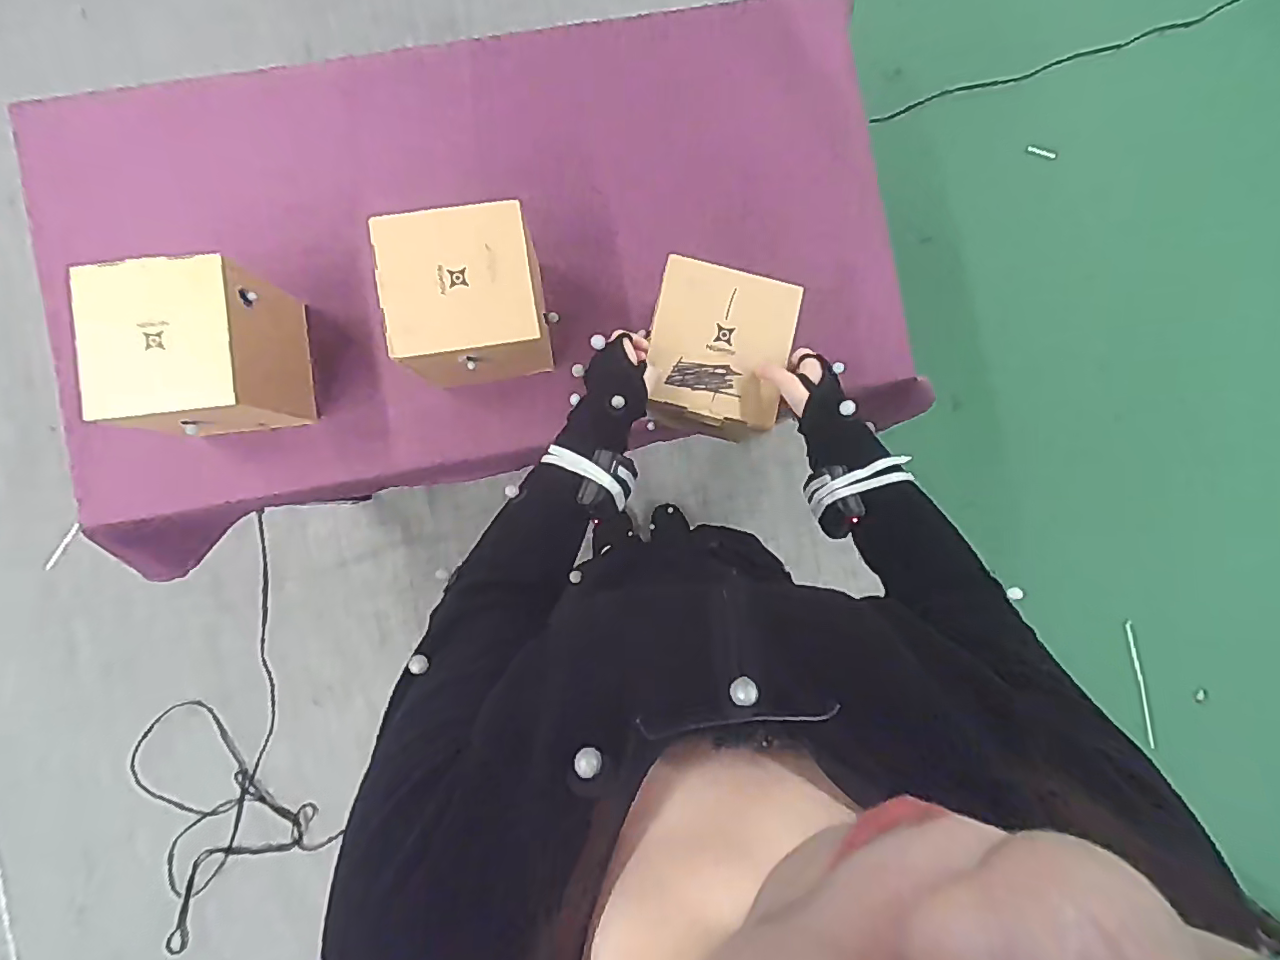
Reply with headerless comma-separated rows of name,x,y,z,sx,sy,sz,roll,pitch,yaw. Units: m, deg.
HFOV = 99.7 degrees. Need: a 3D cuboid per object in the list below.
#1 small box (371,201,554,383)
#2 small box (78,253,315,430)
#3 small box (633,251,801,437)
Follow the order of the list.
small box,-0.216,-0.229,0.700,0.179,0.176,0.168,-8,89,-3
small box,-0.542,-0.161,0.686,0.168,0.176,0.179,-7,88,-2
small box,0.088,-0.161,0.706,0.168,0.176,0.179,13,87,-2
